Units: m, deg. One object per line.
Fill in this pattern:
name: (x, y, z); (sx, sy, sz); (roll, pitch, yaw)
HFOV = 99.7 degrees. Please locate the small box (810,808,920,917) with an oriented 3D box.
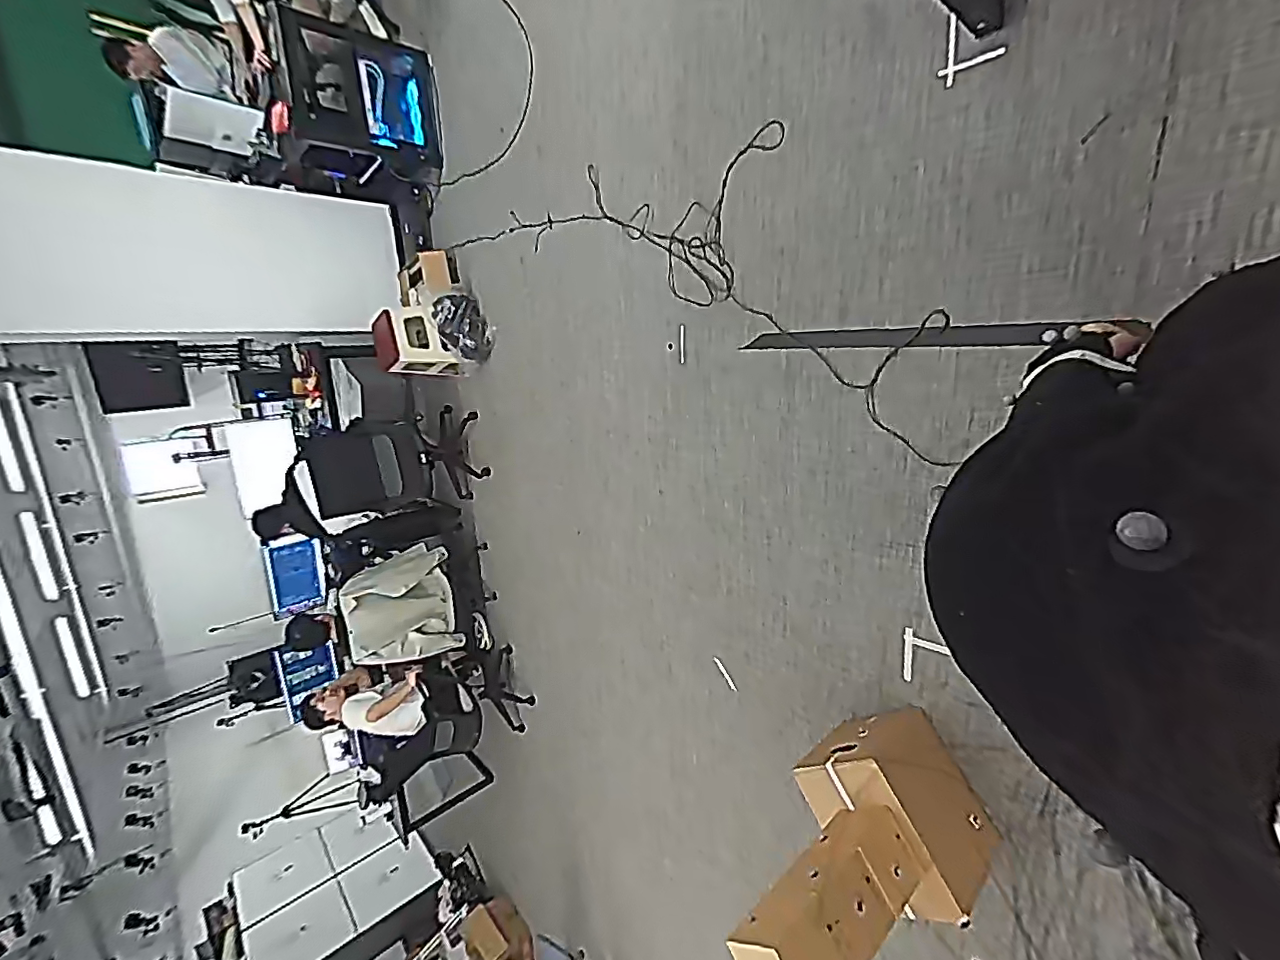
small box: (0.578, 0.964, 1.376); (0.179, 0.176, 0.168); (-45, 67, 46)

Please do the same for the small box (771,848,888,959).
small box: (0.453, 1.002, 1.276); (0.179, 0.176, 0.168); (-45, 67, 46)
